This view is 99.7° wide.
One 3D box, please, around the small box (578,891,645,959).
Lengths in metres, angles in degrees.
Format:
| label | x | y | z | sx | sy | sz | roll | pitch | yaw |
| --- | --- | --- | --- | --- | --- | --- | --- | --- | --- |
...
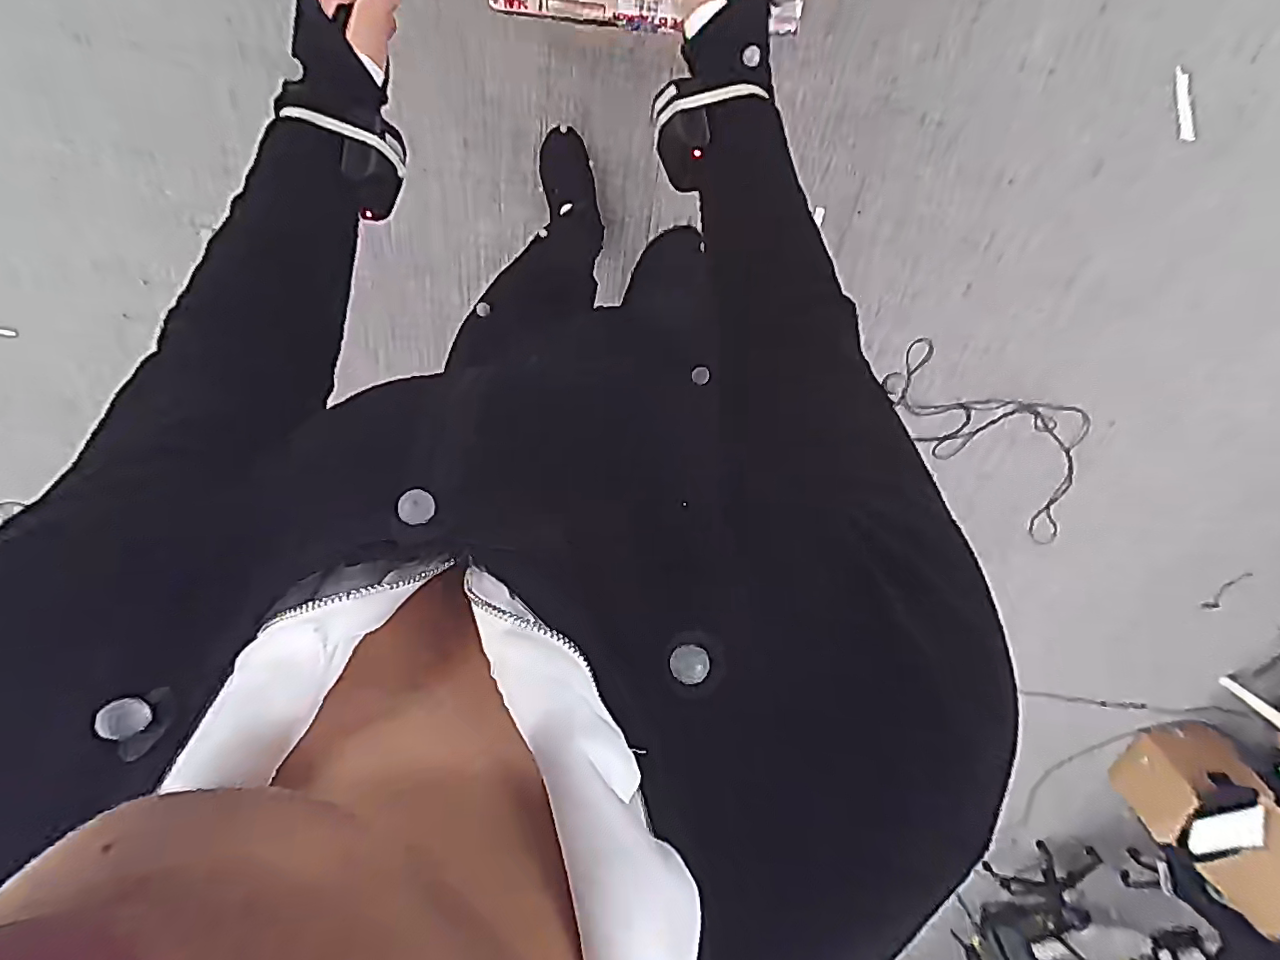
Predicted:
| label | x | y | z | sx | sy | sz | roll | pitch | yaw |
| --- | --- | --- | --- | --- | --- | --- | --- | --- | --- |
| small box | -0.086 | 1.354 | 1.611 | 0.179 | 0.176 | 0.168 | 7 | 125 | -7 |
